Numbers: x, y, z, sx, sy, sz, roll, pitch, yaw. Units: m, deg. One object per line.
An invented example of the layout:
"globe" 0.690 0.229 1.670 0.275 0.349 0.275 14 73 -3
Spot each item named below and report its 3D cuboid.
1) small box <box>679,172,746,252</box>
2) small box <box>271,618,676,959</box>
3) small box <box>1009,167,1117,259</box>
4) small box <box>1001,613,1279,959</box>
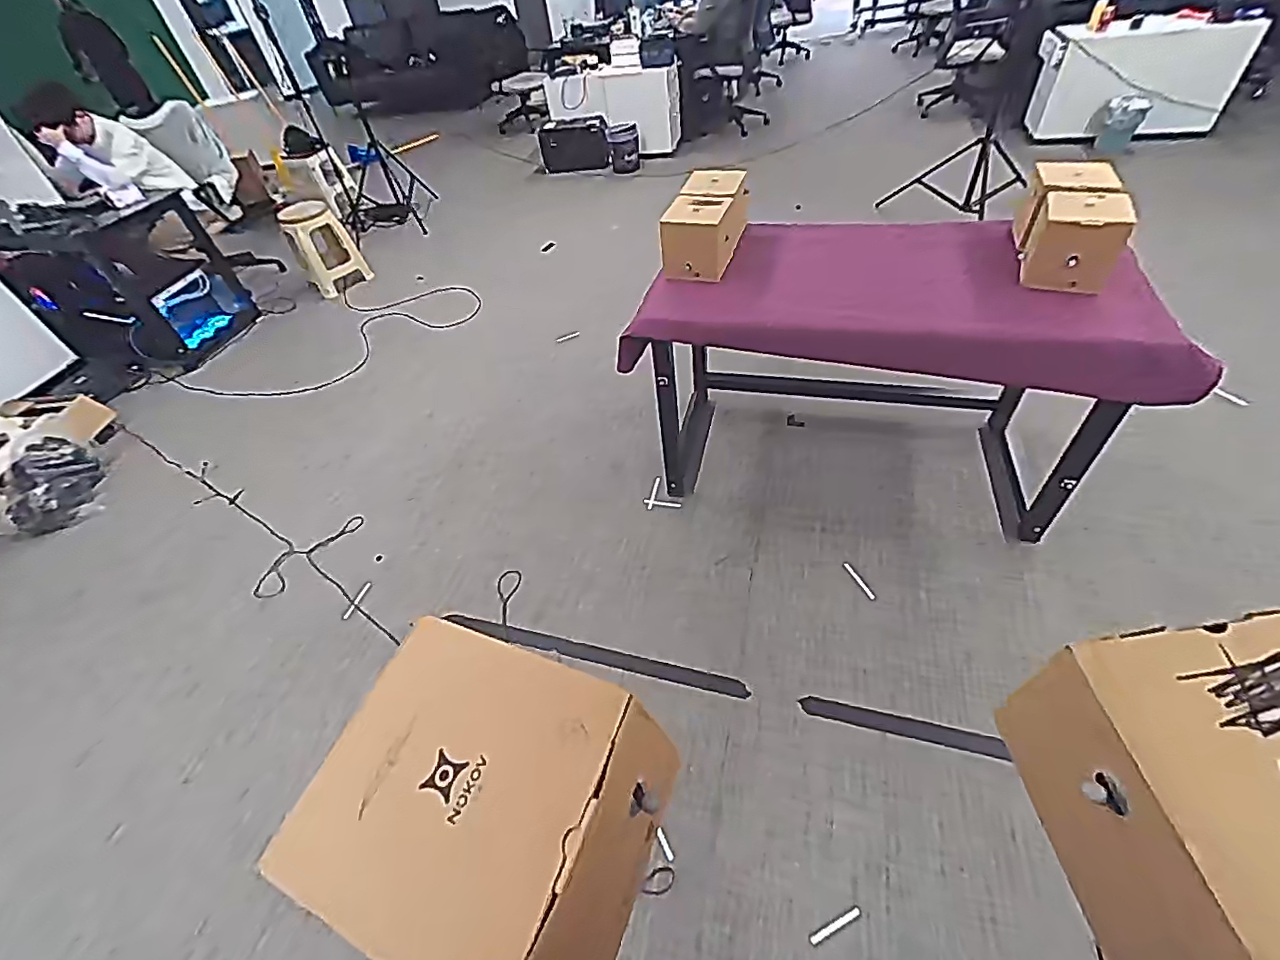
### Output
"small box" 0.224 -0.826 1.666 0.168 0.176 0.179 11 51 18
"small box" -0.089 0.226 0.378 0.179 0.176 0.168 10 54 24
"small box" 1.104 -0.707 1.428 0.168 0.176 0.179 11 49 17
"small box" 0.364 0.202 0.333 0.168 0.176 0.179 -12 51 7
